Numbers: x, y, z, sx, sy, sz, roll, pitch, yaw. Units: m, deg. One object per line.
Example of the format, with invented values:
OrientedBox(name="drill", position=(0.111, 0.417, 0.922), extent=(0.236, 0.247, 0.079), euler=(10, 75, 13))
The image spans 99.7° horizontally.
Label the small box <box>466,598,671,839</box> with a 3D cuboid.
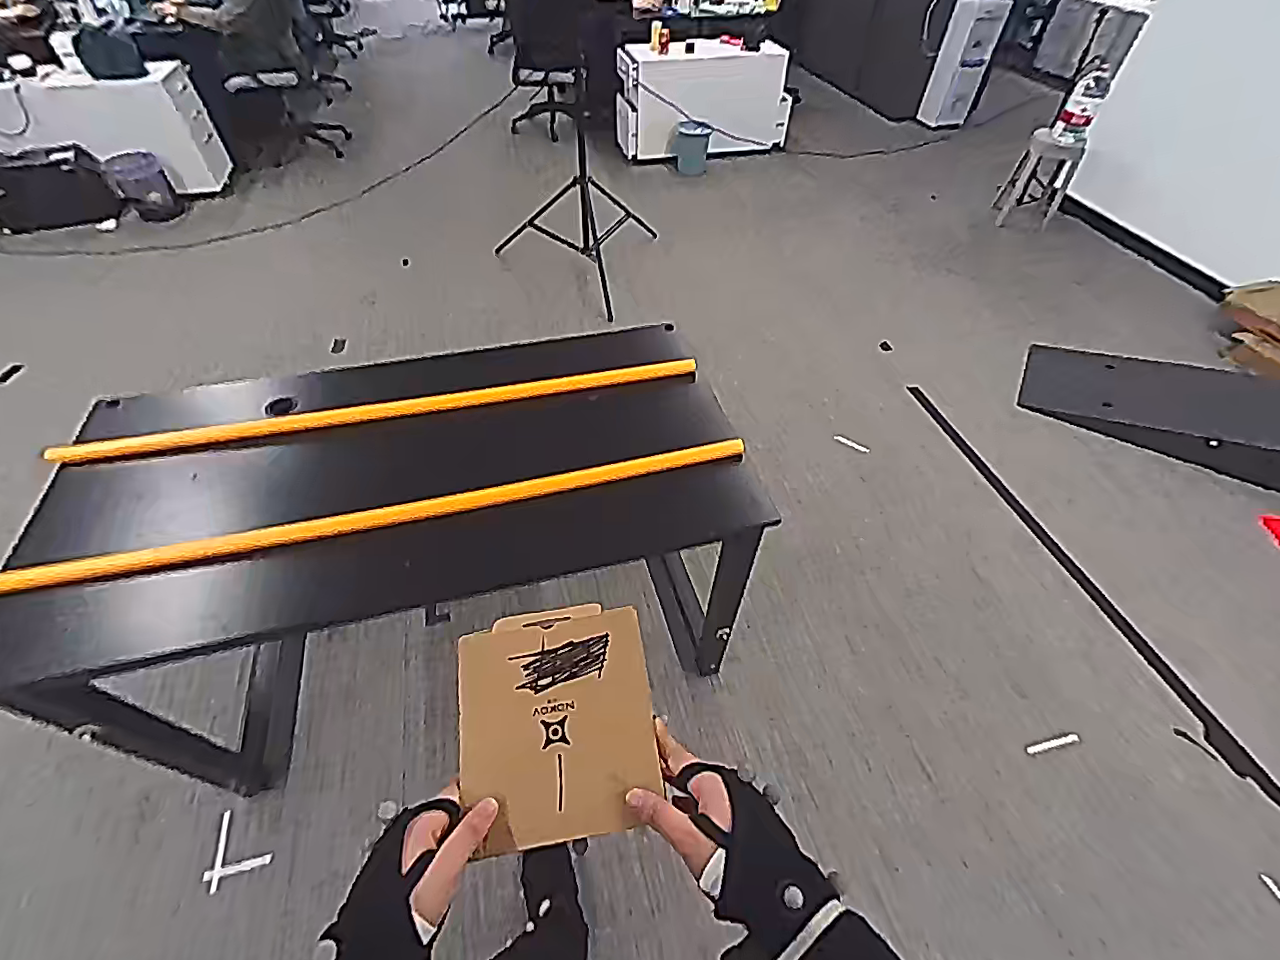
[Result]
OrientedBox(name="small box", position=(-0.066, 0.237, 0.538), extent=(0.168, 0.176, 0.179), euler=(-9, 61, -2))
